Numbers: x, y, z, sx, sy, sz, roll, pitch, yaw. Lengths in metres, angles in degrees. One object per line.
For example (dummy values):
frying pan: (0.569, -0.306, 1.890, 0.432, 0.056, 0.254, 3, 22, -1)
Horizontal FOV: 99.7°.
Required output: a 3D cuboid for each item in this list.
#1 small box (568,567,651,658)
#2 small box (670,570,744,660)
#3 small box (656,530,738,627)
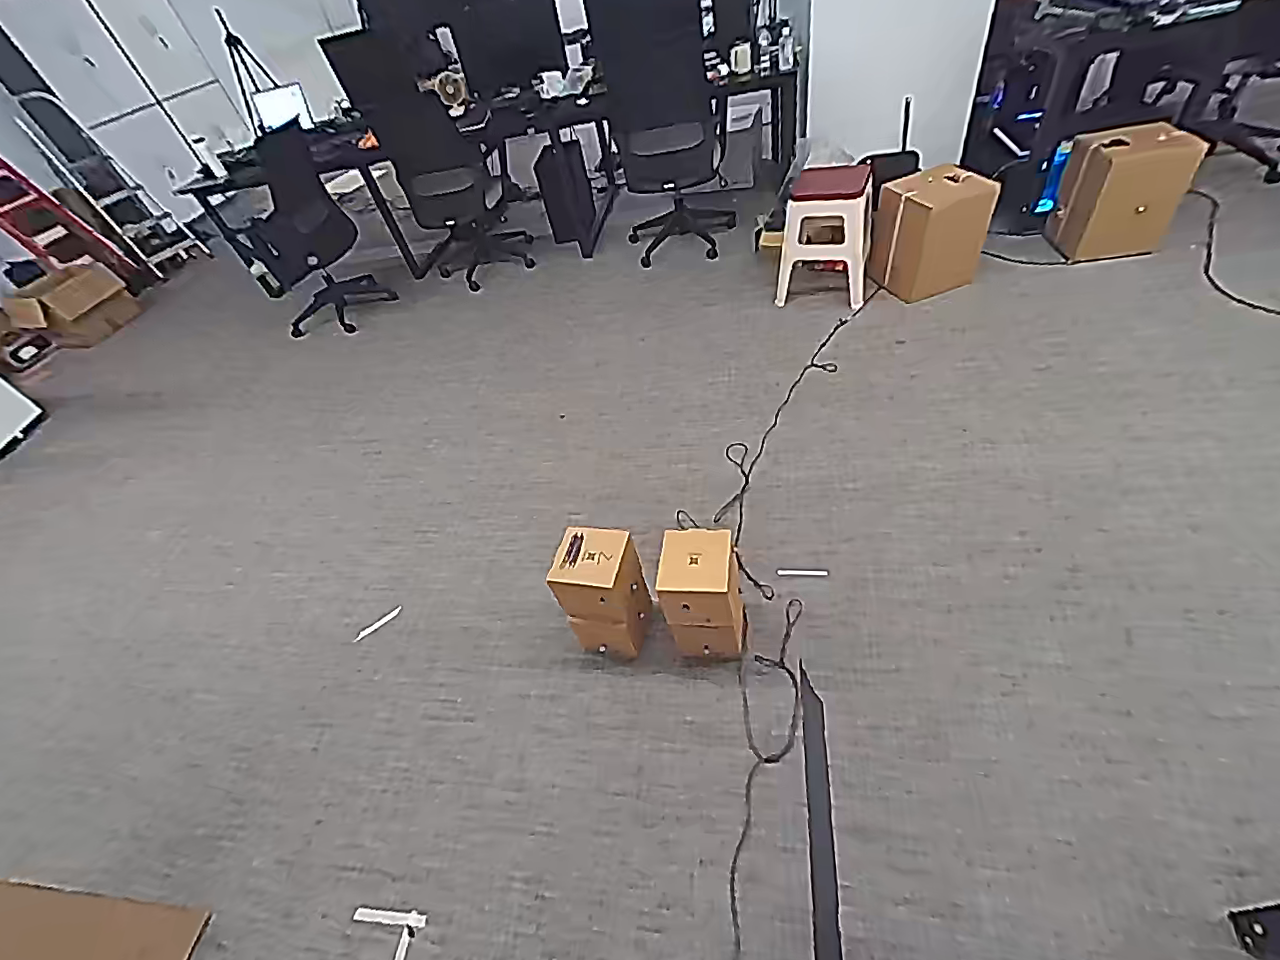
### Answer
small box: (-0.075, 0.364, 1.488, 0.168, 0.176, 0.179, 3, 49, 19)
small box: (0.182, 0.352, 1.427, 0.168, 0.176, 0.179, -2, 47, 16)
small box: (0.146, 0.241, 1.314, 0.168, 0.176, 0.179, -2, 46, 15)
